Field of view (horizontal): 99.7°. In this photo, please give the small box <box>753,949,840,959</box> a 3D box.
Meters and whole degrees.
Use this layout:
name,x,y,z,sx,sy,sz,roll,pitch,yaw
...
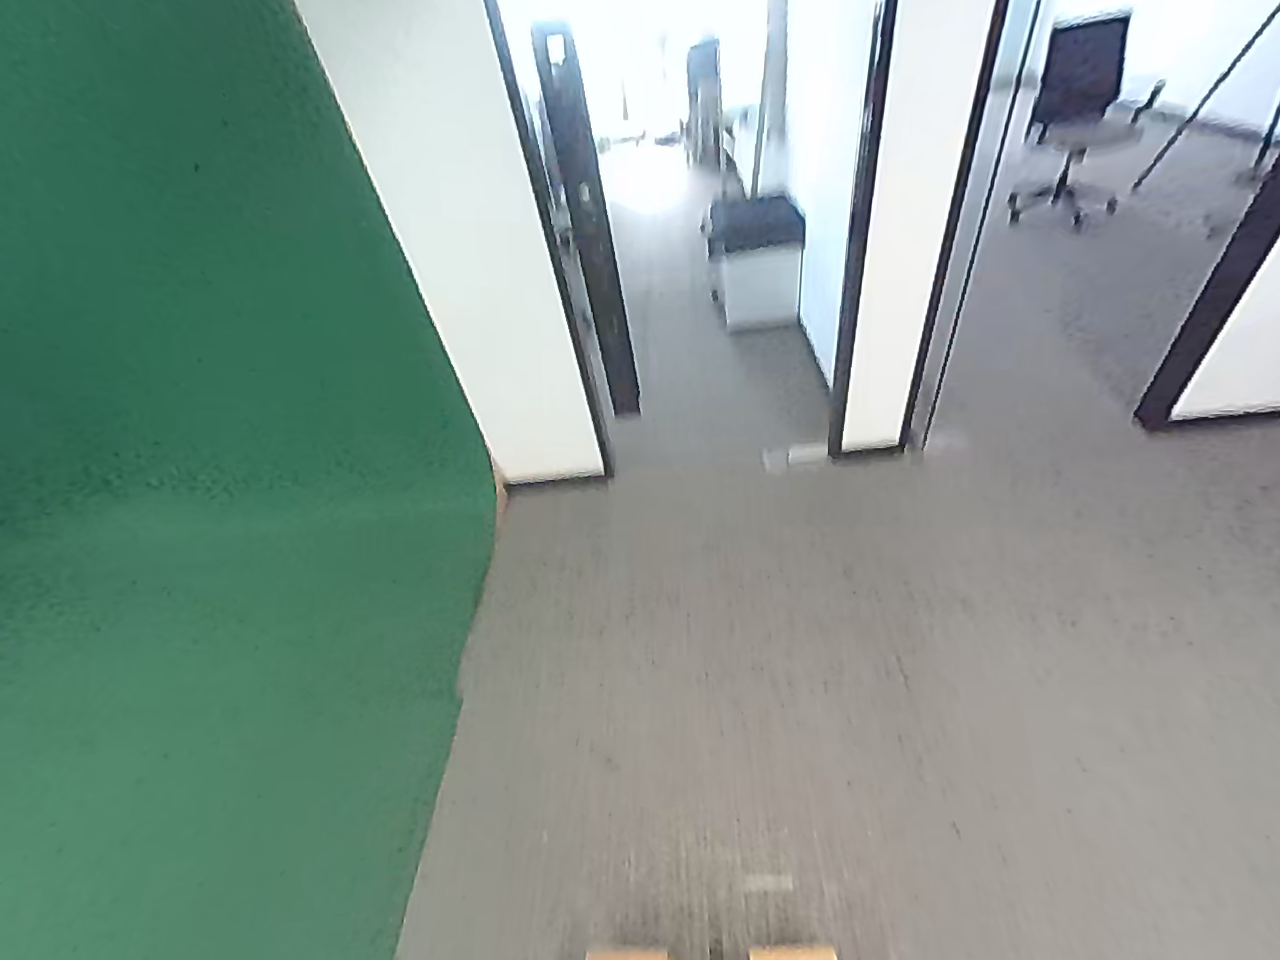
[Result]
name,x,y,z,sx,sy,sz,roll,pitch,yaw
small box,0.308,1.025,1.033,0.168,0.176,0.179,-6,43,7
